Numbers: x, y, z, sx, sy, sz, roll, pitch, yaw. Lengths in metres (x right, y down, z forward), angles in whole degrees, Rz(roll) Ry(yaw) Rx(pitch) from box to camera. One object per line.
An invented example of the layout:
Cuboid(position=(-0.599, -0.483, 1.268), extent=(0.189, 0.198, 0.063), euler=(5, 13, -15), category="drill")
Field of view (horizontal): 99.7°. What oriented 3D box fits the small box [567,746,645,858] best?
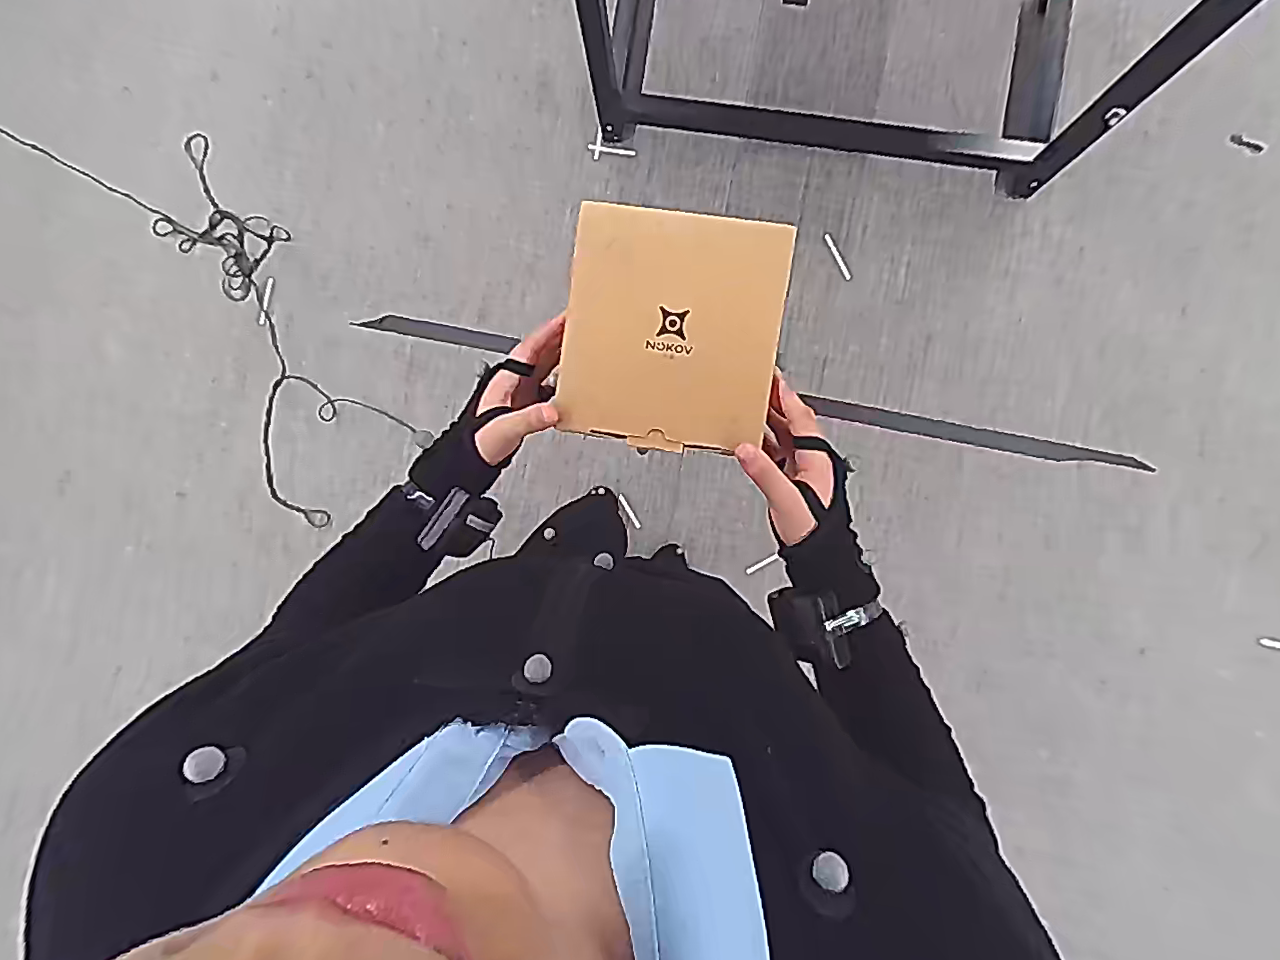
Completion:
Cuboid(position=(-0.079, 0.793, 1.350), extent=(0.168, 0.176, 0.179), euler=(6, 88, 4), category="small box")
